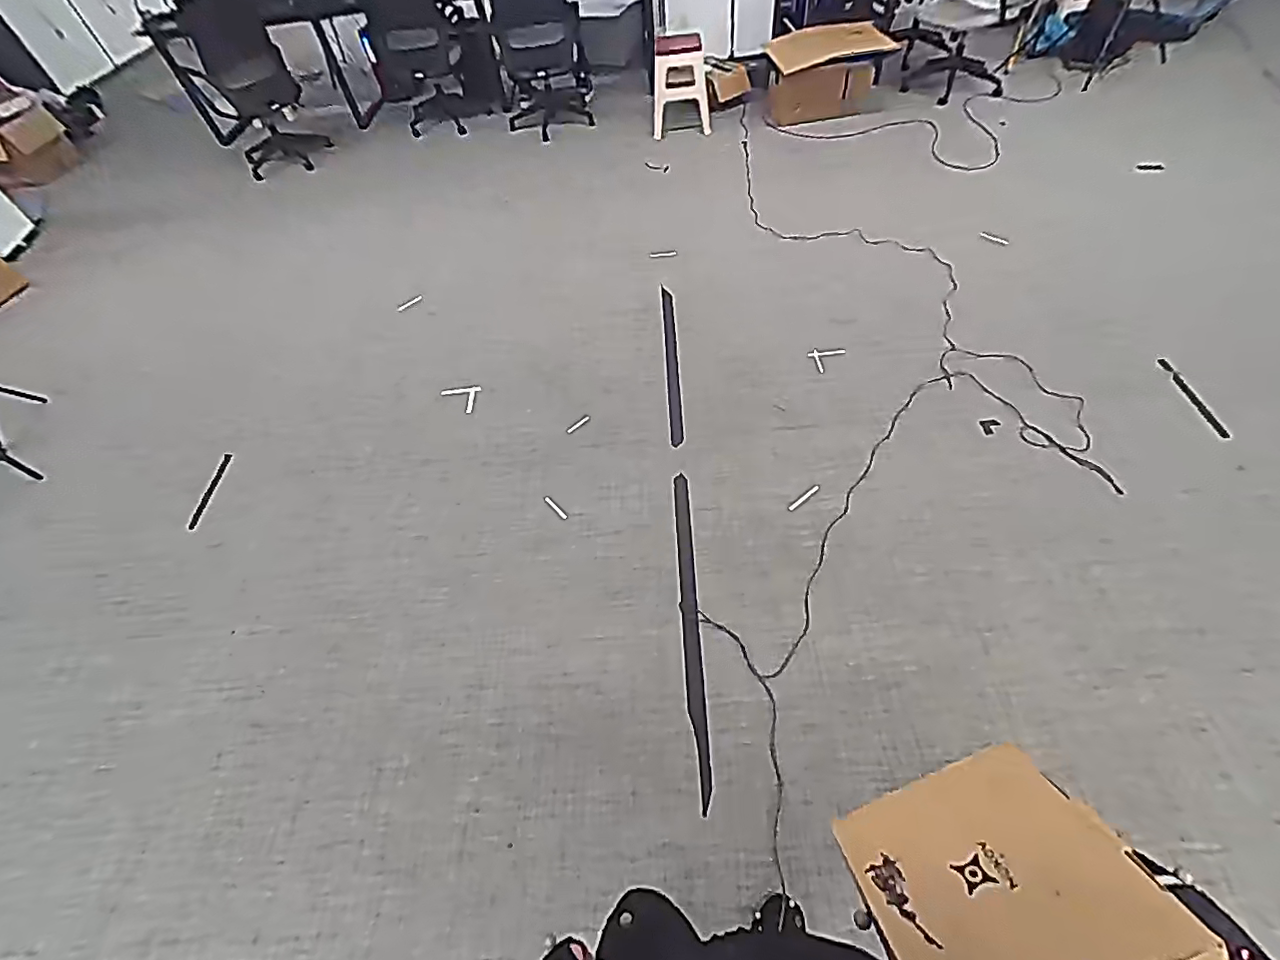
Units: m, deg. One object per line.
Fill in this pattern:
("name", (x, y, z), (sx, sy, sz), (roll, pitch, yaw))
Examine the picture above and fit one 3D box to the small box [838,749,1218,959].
("small box", (0.291, 0.362, 0.423), (0.179, 0.176, 0.168), (-25, 14, 1))
